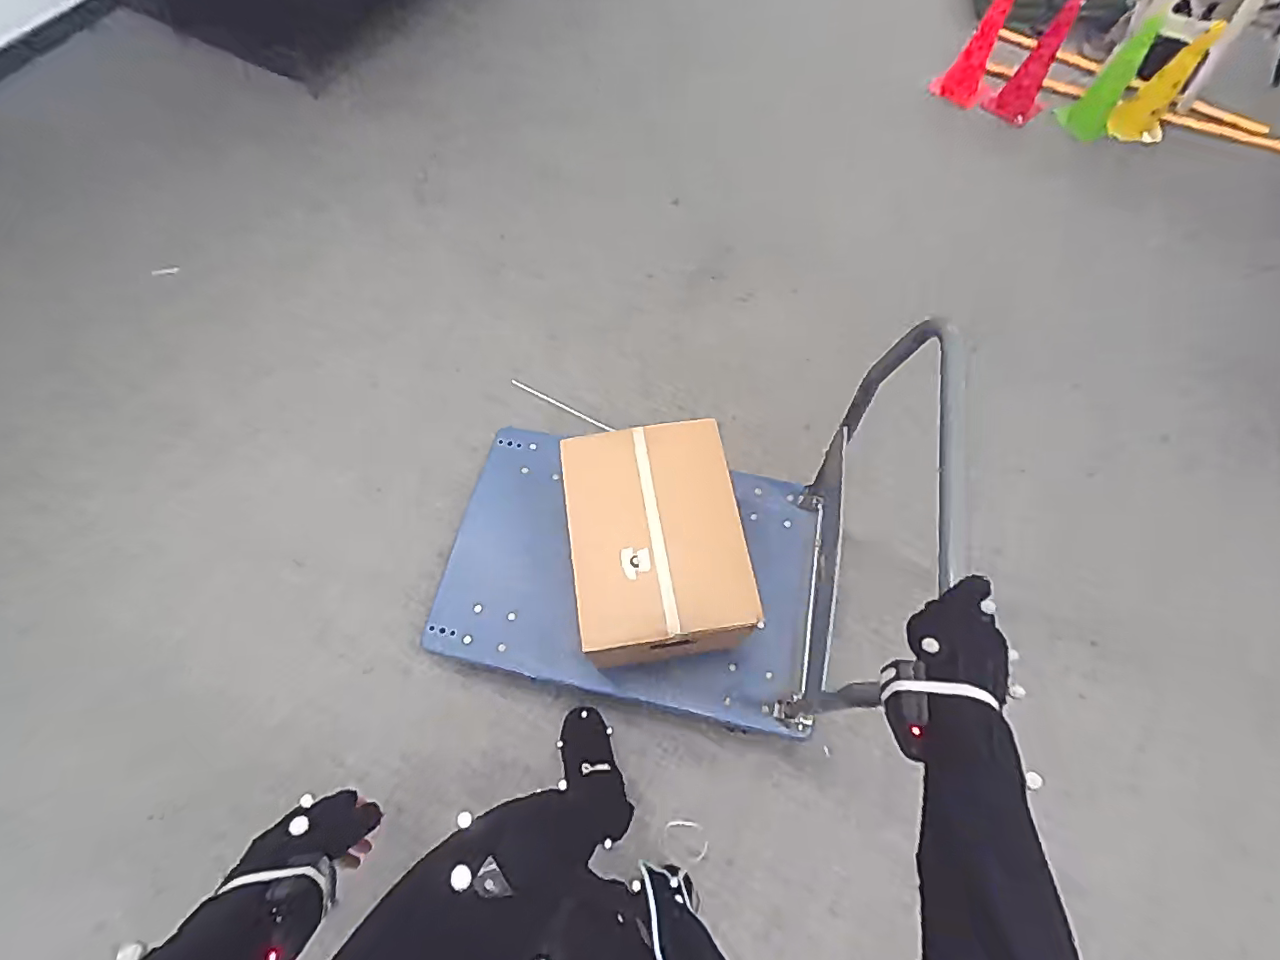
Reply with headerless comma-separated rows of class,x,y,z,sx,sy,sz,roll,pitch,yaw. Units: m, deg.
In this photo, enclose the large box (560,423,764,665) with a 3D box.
large box,0.026,0.145,1.130,0.320,0.320,0.408,-9,67,-3
